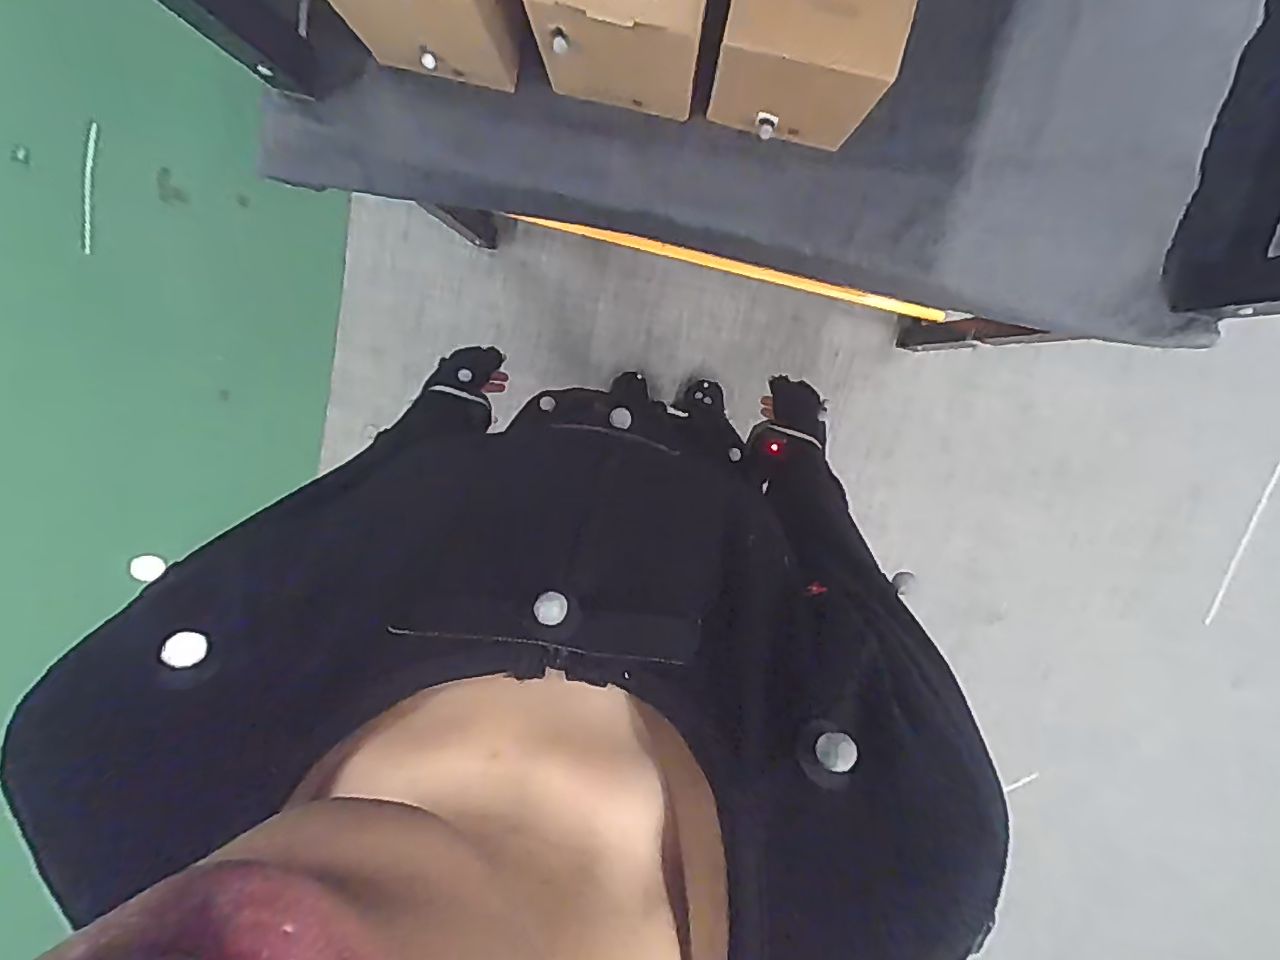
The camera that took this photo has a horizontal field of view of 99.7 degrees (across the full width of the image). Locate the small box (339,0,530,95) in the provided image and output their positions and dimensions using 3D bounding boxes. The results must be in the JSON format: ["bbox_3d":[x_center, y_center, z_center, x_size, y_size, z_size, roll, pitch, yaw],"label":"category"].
[{"bbox_3d":[-0.212,-0.544,0.552,0.168,0.176,0.179,11,101,-1],"label":"small box"}]
